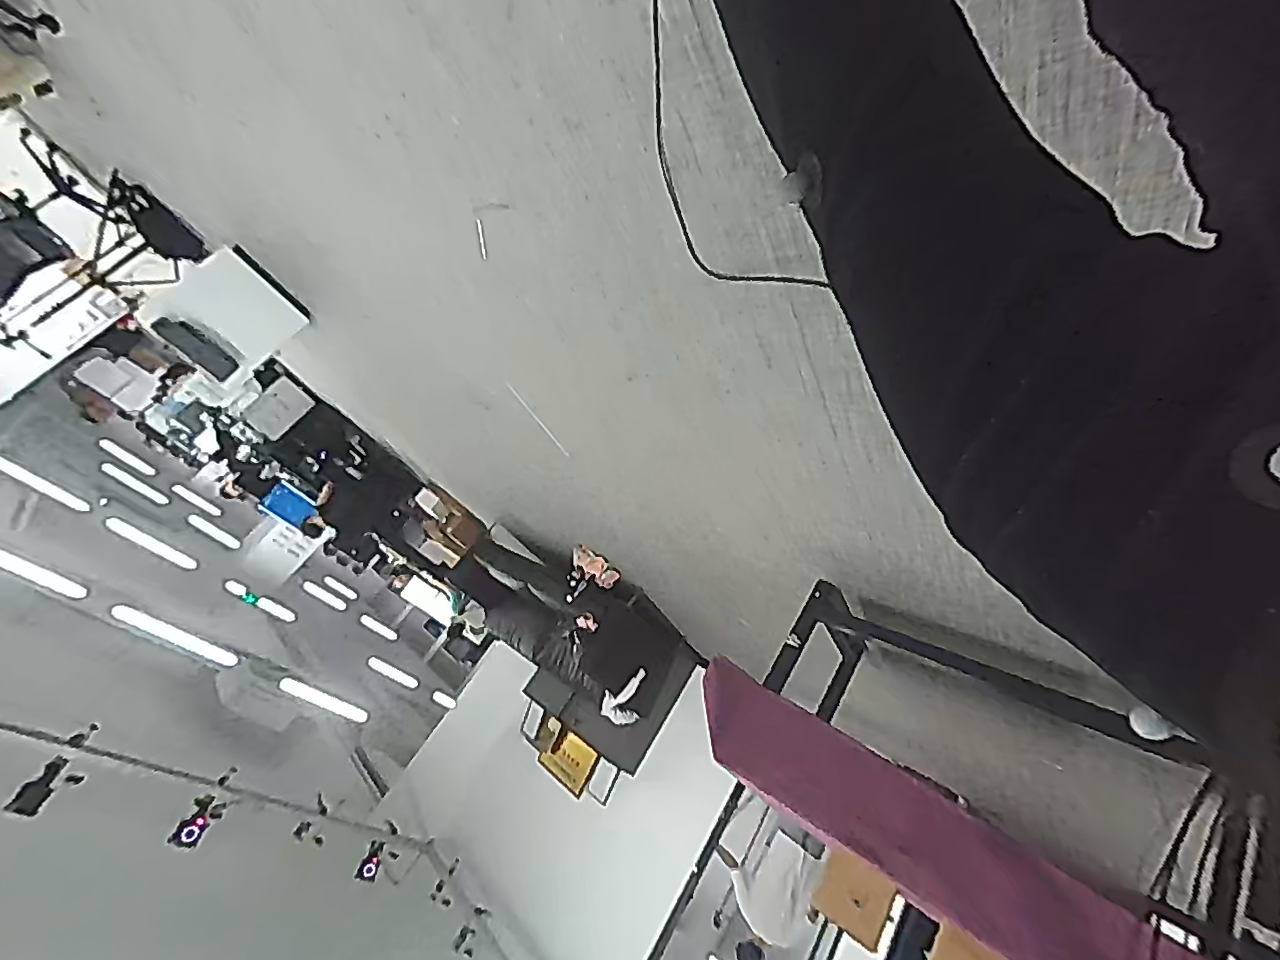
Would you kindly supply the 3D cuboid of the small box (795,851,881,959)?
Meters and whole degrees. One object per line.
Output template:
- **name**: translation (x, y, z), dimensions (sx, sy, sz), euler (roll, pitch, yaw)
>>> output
- **small box**: translation (0.548, 1.160, 1.480), dimensions (0.179, 0.176, 0.168), euler (19, 152, 36)
